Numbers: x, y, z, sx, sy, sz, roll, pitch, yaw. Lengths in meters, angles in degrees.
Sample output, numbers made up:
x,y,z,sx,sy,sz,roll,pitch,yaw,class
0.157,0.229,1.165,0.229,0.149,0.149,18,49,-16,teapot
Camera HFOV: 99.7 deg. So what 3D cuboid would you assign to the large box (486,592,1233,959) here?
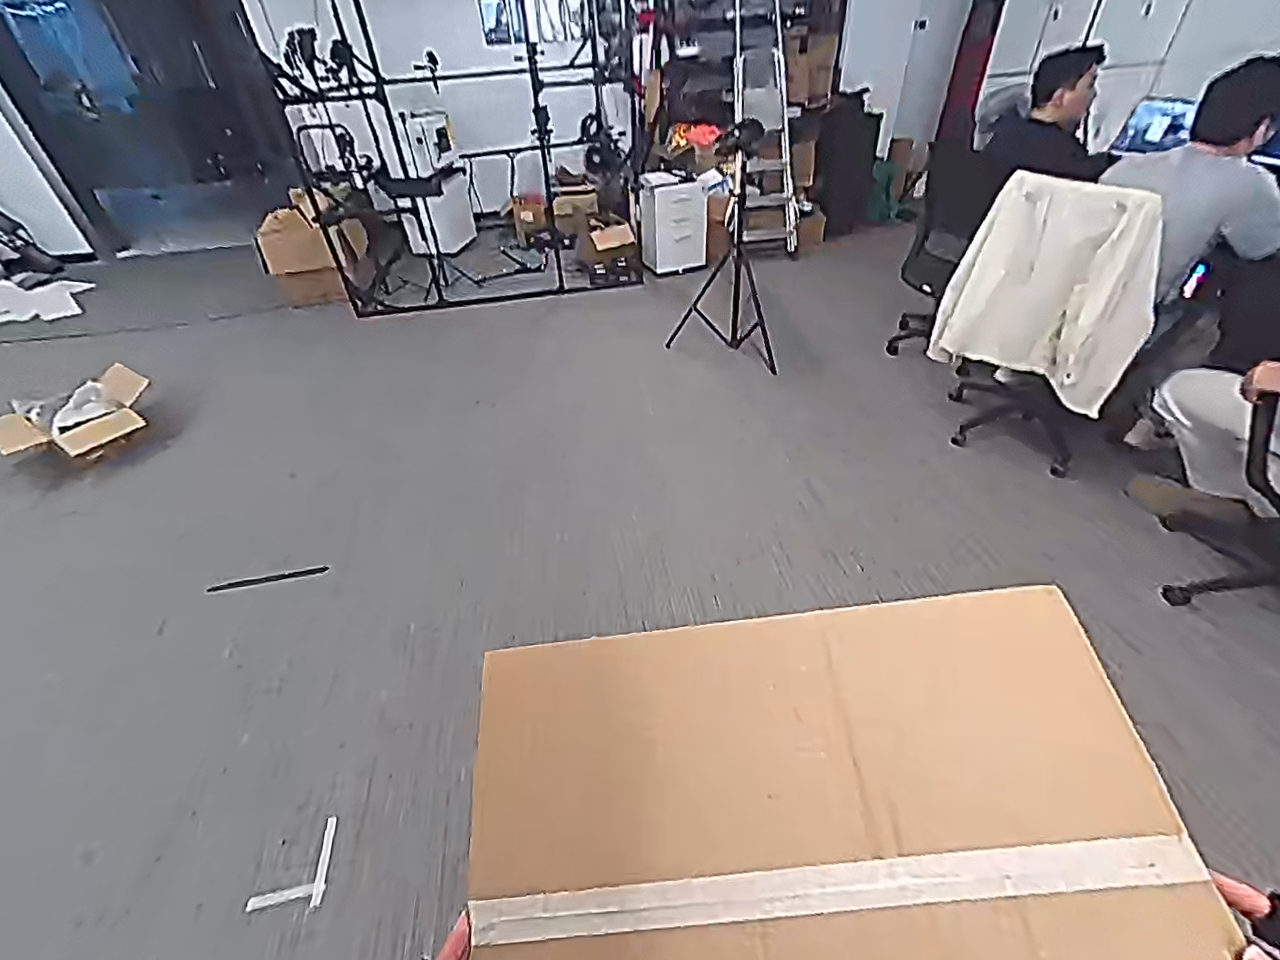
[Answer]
x,y,z,sx,sy,sz,roll,pitch,yaw,class
0.122,0.314,0.438,0.408,0.320,0.320,-8,59,4,large box
